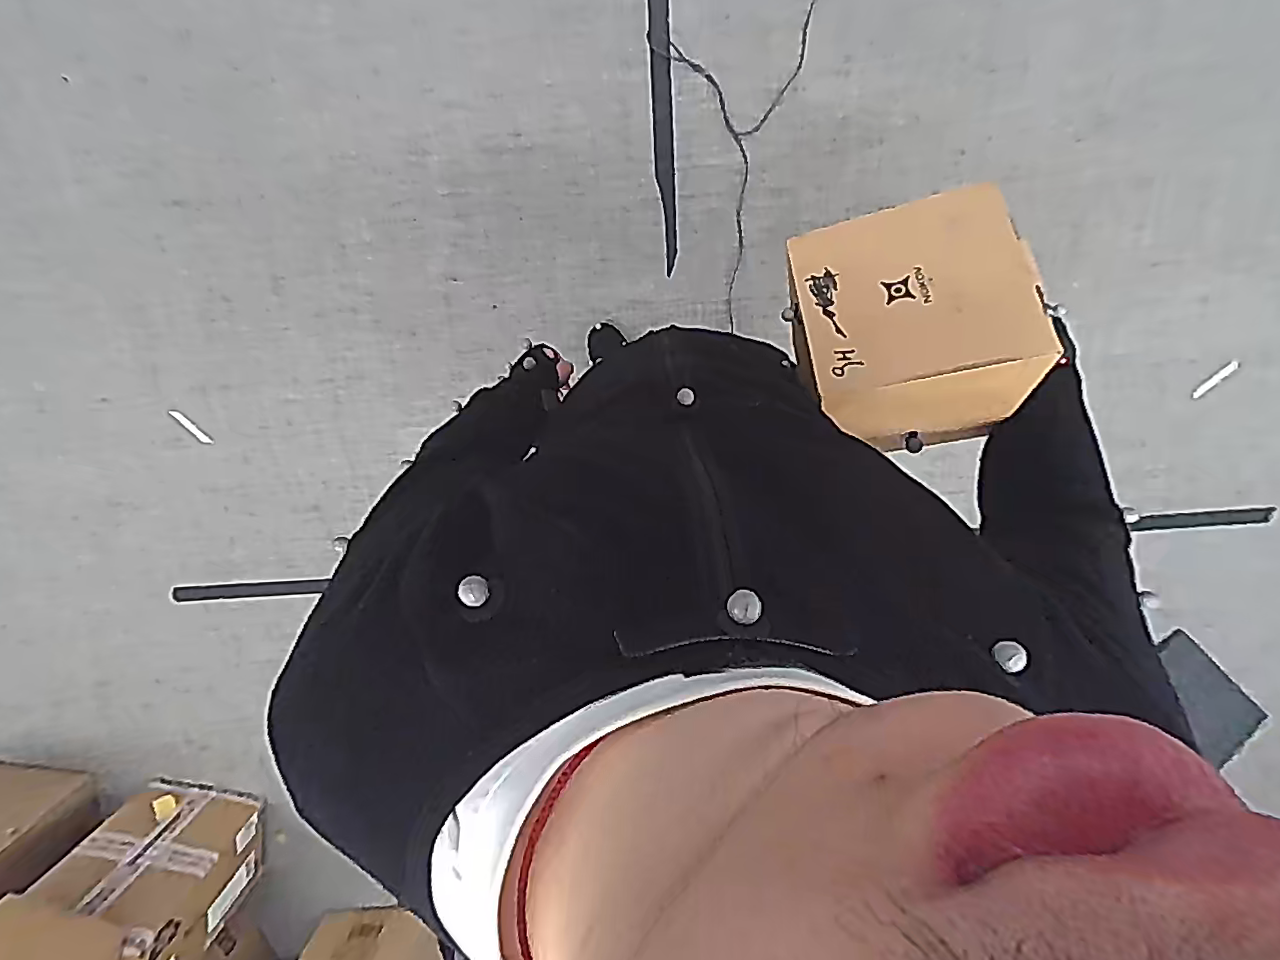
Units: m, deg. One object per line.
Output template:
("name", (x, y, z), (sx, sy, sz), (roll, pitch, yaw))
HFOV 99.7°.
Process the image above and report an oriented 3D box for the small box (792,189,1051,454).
("small box", (0.249, -0.138, 0.532), (0.179, 0.176, 0.168), (-9, 70, 14))
